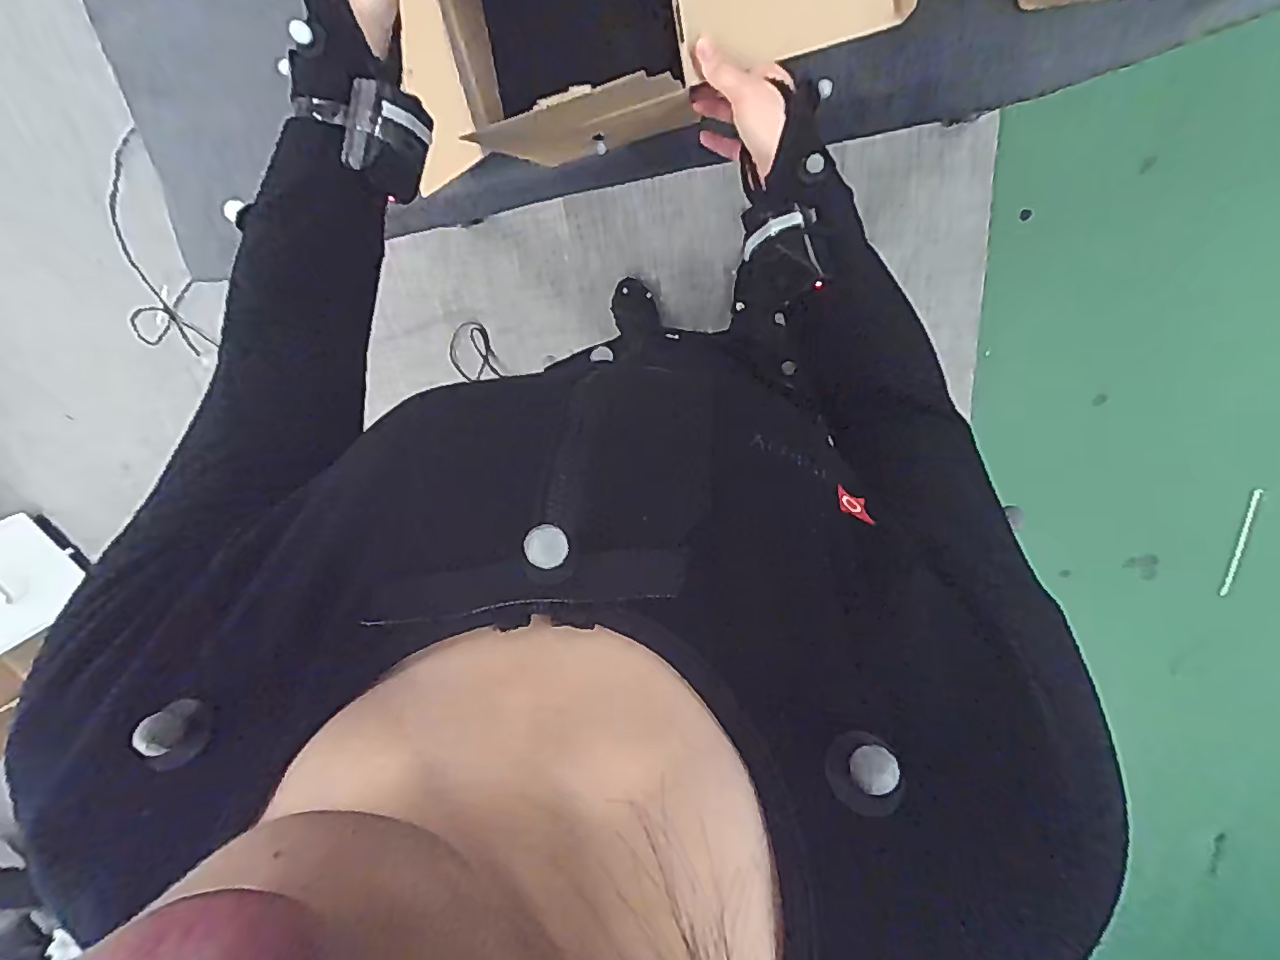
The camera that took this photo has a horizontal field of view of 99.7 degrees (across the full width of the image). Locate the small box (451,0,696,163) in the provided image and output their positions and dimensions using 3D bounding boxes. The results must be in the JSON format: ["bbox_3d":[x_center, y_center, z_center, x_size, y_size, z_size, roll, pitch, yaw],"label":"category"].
[{"bbox_3d":[-0.048,-0.404,0.491,0.179,0.176,0.168,-7,115,16],"label":"small box"}]
